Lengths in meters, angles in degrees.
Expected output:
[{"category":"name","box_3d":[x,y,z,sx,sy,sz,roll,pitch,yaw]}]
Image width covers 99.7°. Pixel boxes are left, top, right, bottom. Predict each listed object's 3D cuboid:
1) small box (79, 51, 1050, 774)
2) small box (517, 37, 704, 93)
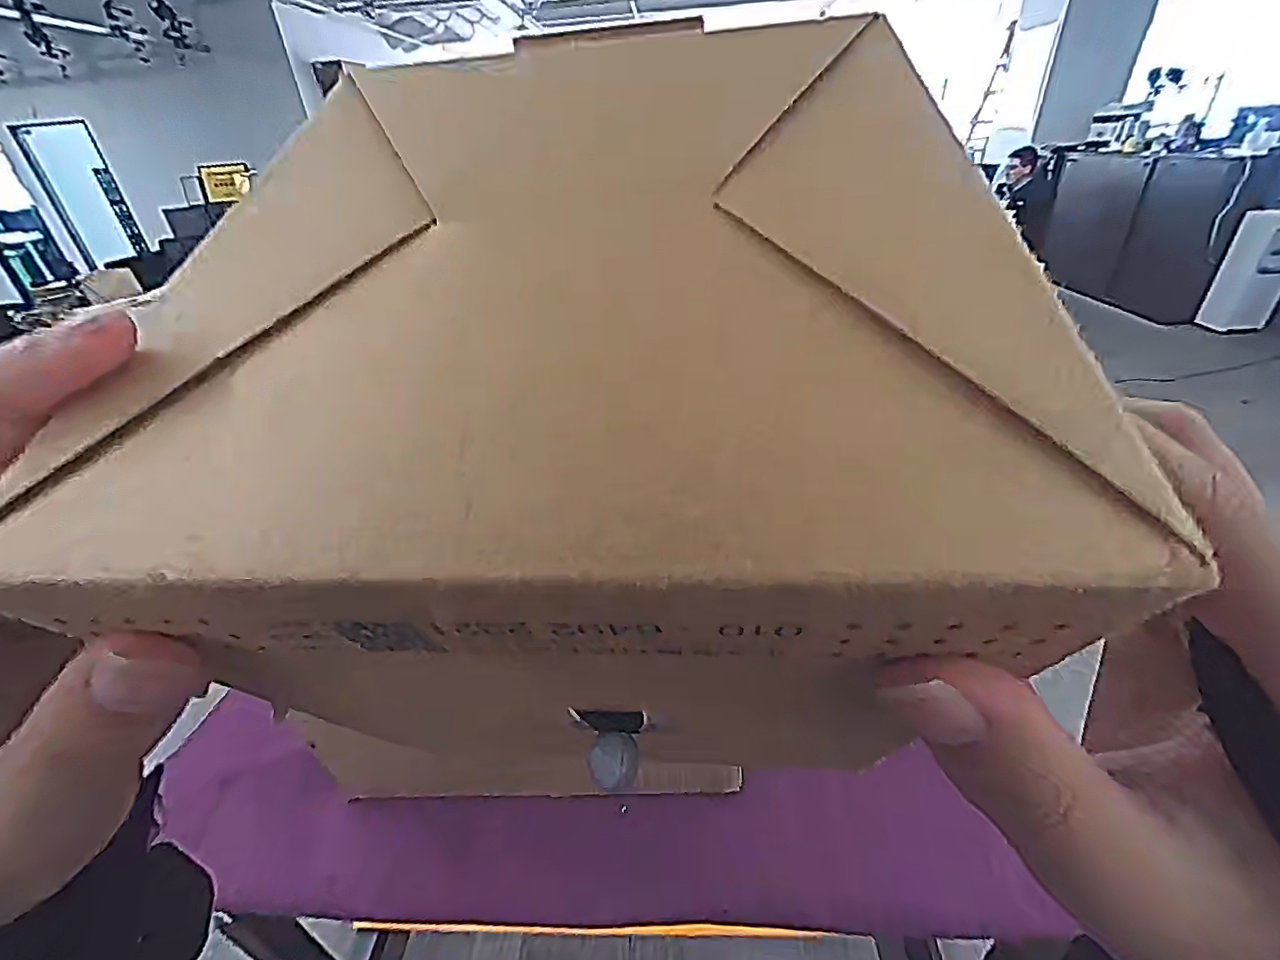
[{"category":"small box","box_3d":[-0.007,-0.009,0.186,0.168,0.176,0.179,-1,56,6]},{"category":"small box","box_3d":[-0.016,-0.343,0.575,0.168,0.176,0.179,-2,32,6]}]
